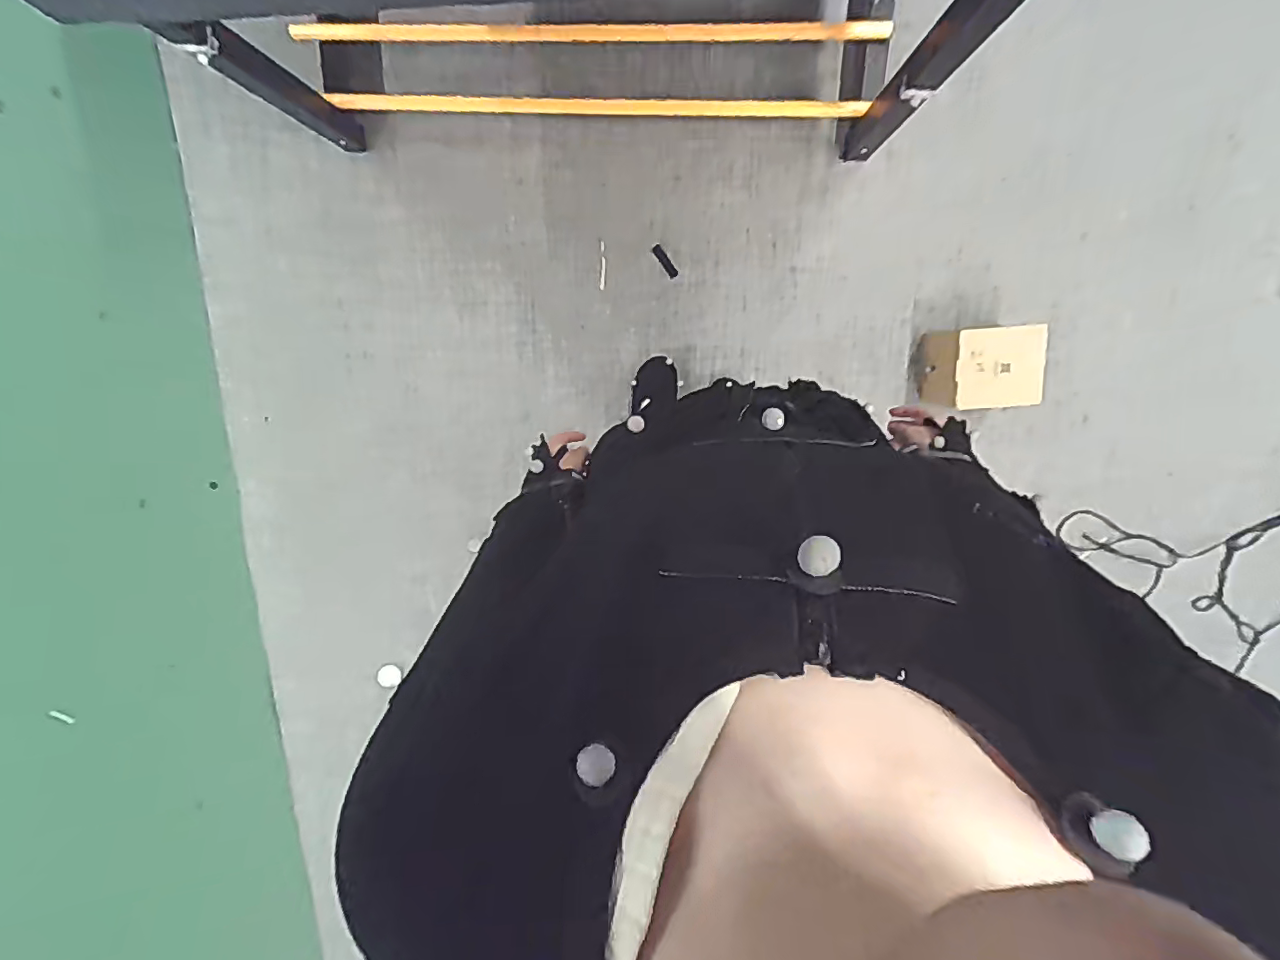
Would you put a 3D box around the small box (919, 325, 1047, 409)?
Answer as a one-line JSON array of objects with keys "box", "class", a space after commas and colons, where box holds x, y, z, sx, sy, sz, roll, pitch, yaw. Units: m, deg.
[{"box": [0.746, -0.250, 1.191, 0.179, 0.176, 0.168, -3, 102, 4], "class": "small box"}]
